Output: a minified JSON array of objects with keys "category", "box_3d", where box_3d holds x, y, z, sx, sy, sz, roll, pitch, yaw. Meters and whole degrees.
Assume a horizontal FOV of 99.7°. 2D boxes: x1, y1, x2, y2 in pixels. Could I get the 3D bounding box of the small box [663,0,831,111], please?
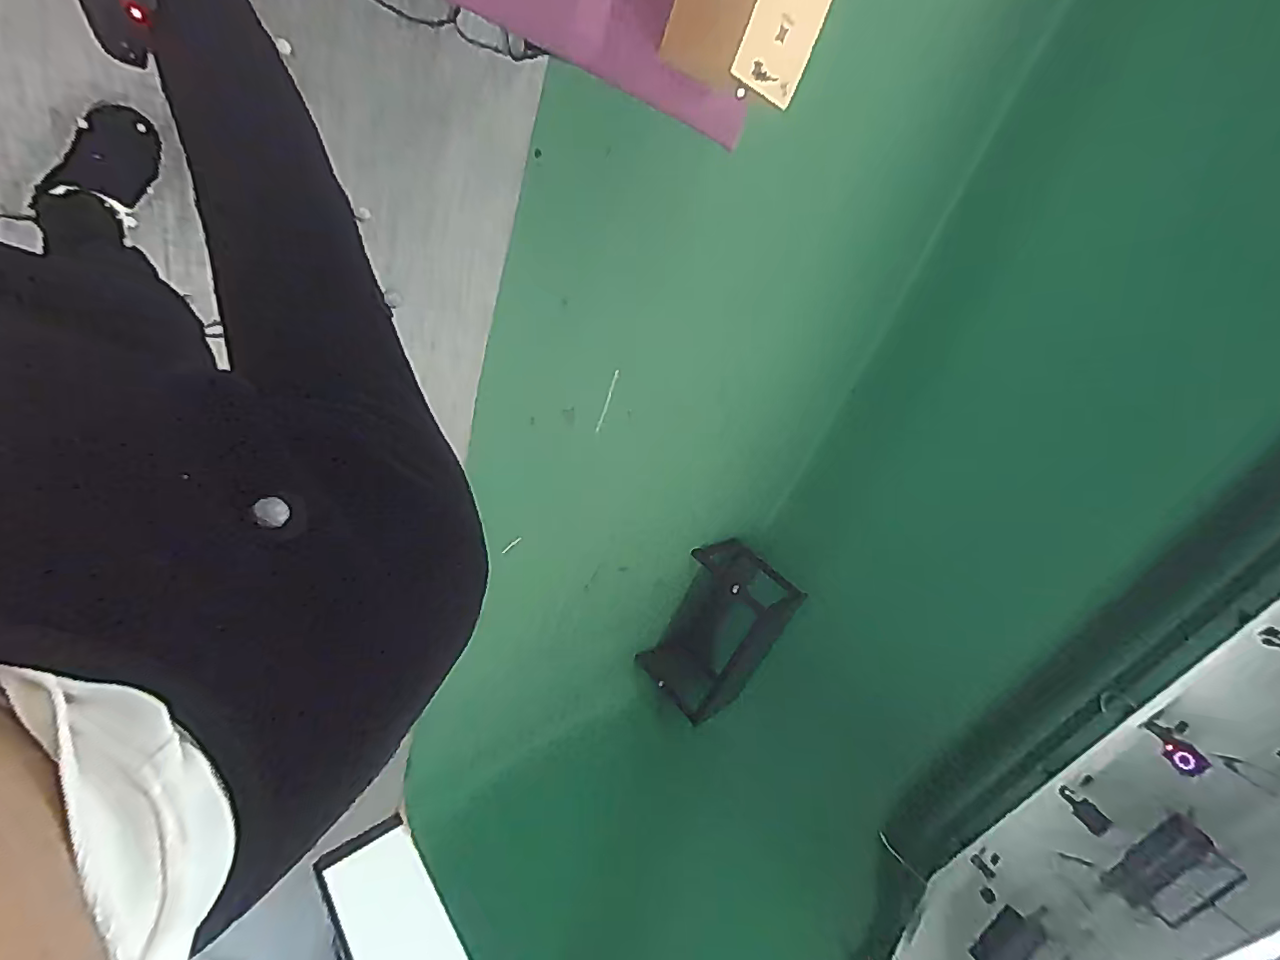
[{"category":"small box","box_3d":[0.163,-0.723,0.850,0.168,0.176,0.179,-8,131,-44]}]
